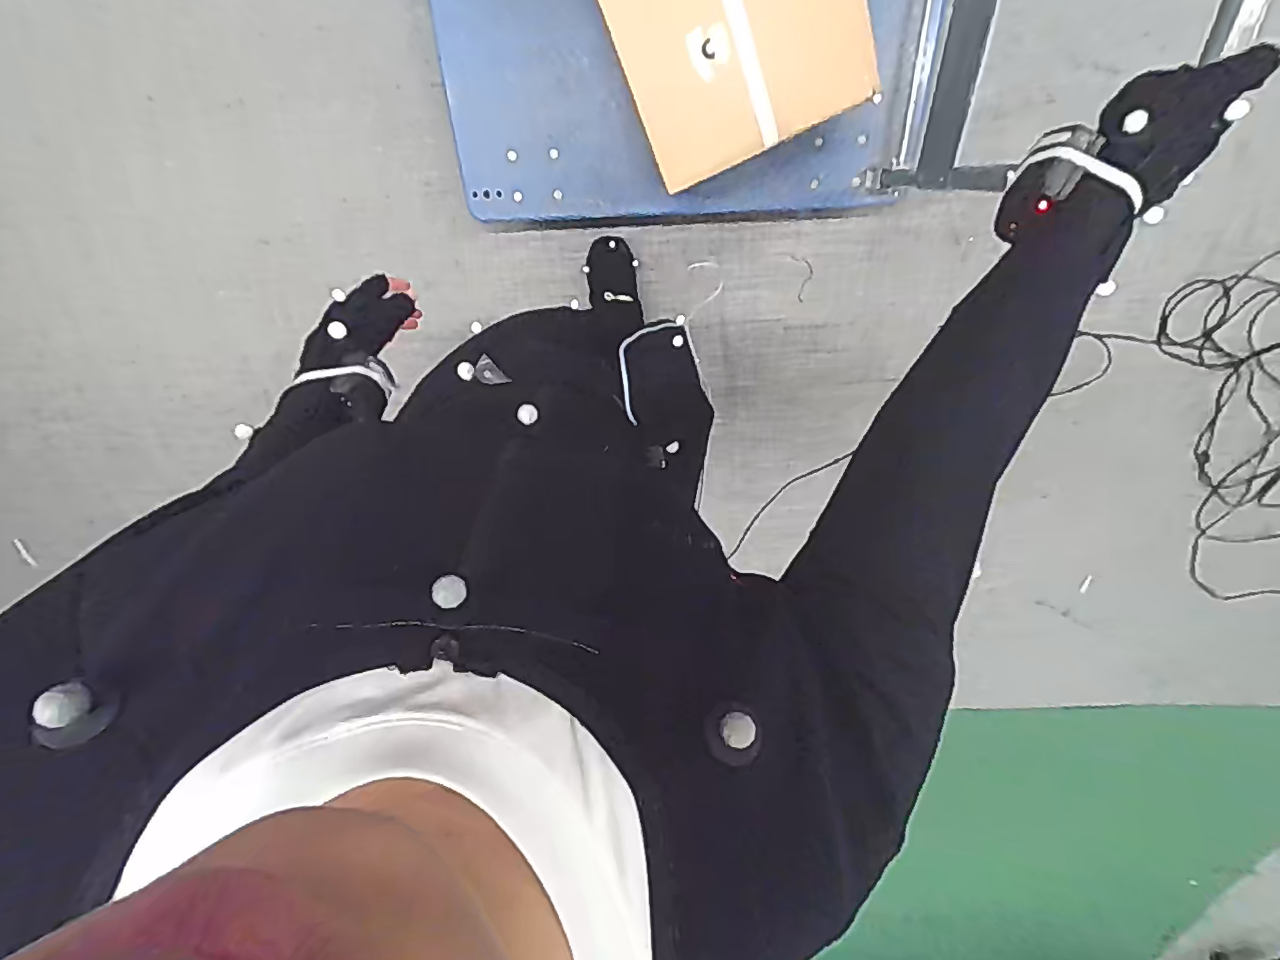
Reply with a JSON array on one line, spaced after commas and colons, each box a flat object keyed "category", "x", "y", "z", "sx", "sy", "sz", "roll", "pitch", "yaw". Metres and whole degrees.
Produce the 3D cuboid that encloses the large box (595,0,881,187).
[{"category": "large box", "x": 0.107, "y": -0.715, "z": 0.807, "sx": 0.320, "sy": 0.320, "sz": 0.408, "roll": -21, "pitch": 118, "yaw": 13}]
